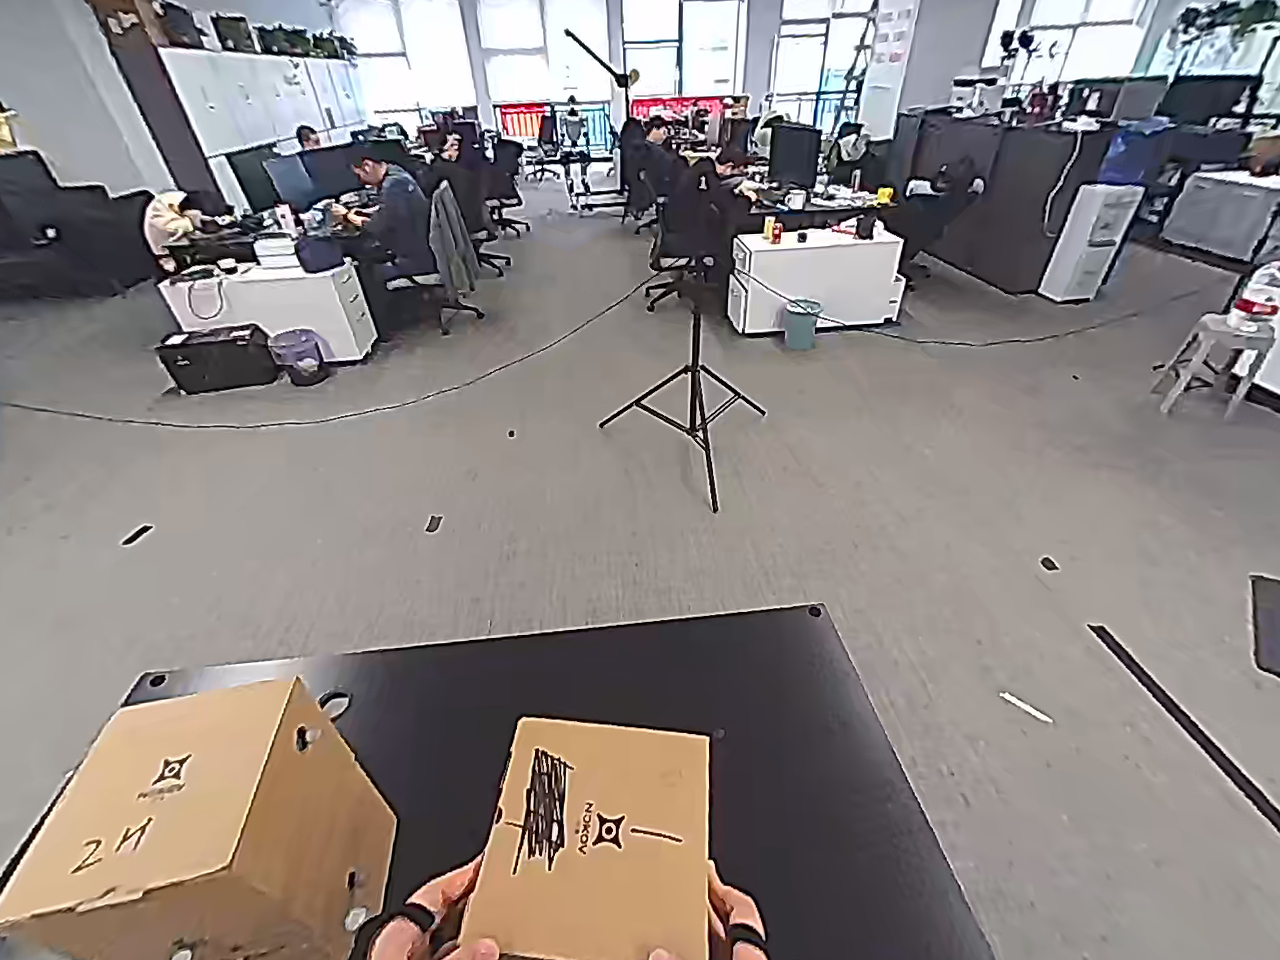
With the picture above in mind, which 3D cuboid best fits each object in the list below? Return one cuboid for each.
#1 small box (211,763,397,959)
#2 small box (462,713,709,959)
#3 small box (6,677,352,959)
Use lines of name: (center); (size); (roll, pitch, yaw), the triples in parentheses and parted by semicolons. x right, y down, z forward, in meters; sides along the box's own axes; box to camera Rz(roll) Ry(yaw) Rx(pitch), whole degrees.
small box: (-0.397, 0.463, 0.618); (0.168, 0.176, 0.179); (-8, 37, -7)
small box: (-0.031, 0.335, 0.484); (0.179, 0.176, 0.168); (4, 40, 4)
small box: (-0.403, 0.326, 0.522); (0.168, 0.176, 0.179); (-9, 37, -8)
